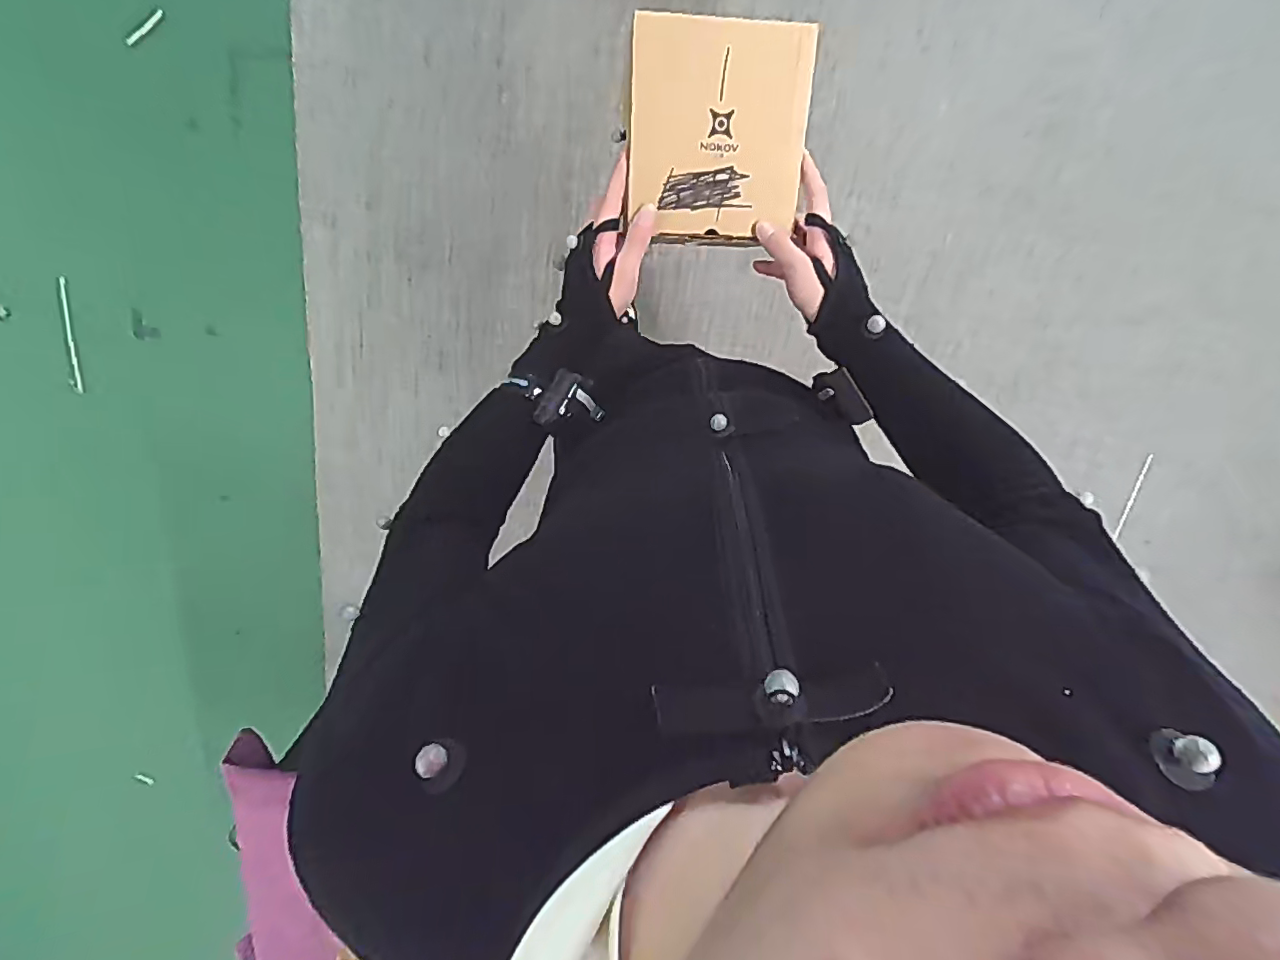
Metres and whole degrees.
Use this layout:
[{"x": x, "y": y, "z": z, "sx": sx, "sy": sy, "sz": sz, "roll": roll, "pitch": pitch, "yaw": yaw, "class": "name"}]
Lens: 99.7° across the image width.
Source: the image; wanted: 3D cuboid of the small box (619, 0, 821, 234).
[{"x": 0.065, "y": -0.357, "z": 0.561, "sx": 0.168, "sy": 0.176, "sz": 0.179, "roll": 0, "pitch": 111, "yaw": -5, "class": "small box"}]

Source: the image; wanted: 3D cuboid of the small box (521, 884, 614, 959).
[{"x": -0.149, "y": 0.987, "z": 1.131, "sx": 0.179, "sy": 0.176, "sz": 0.168, "roll": 3, "pitch": 109, "yaw": -1, "class": "small box"}]
